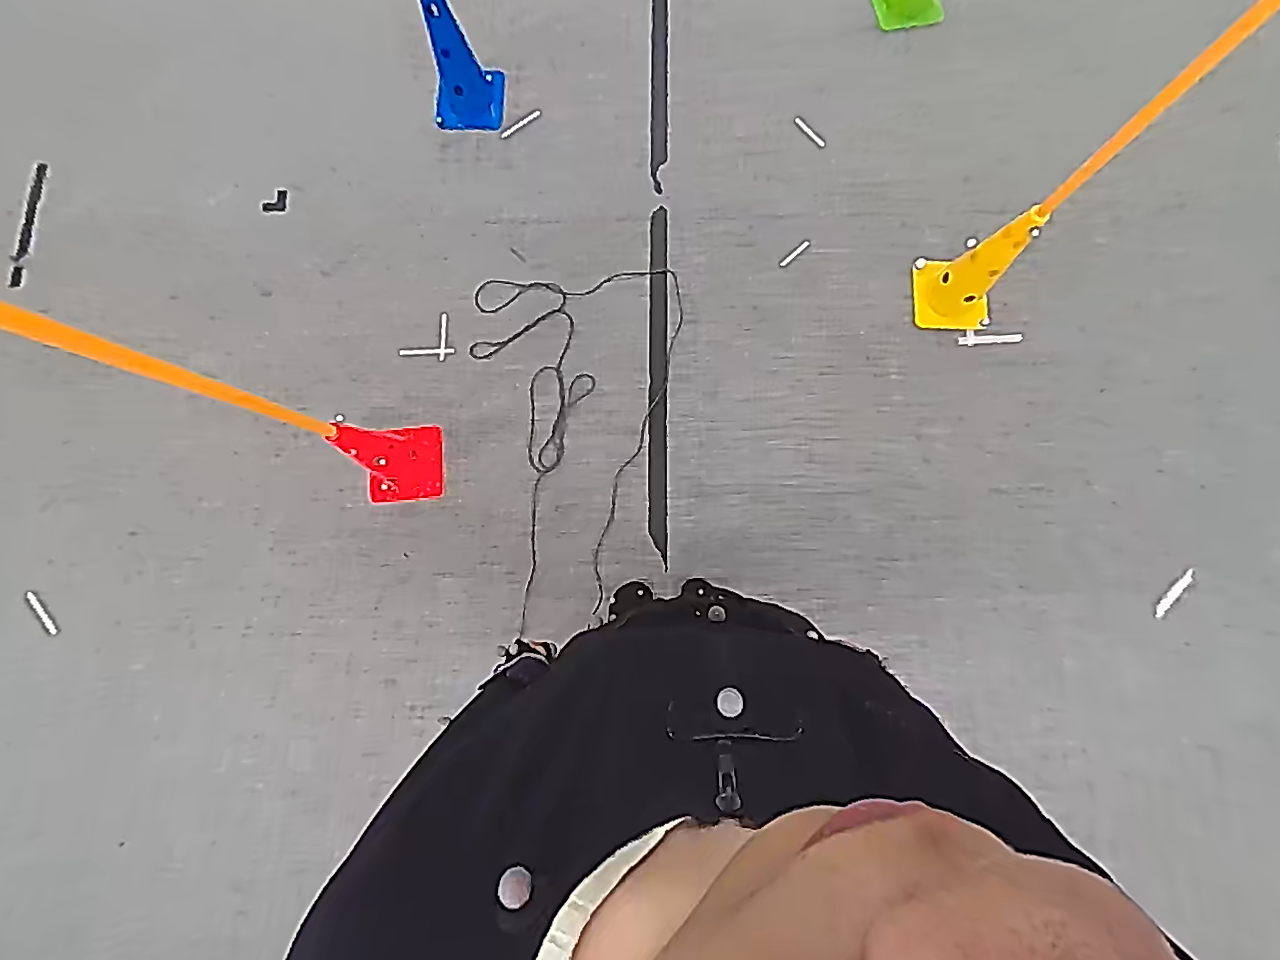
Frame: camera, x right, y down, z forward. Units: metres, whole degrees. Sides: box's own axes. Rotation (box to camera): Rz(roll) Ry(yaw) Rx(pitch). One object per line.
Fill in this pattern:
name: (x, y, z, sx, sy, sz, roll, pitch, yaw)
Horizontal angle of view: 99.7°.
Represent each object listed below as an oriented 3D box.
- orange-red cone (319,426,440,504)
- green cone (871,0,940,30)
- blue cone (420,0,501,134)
orange-red cone: (-0.629, -0.066, 1.265, 0.199, 0.360, 0.198, -5, 81, -1)
green cone: (0.805, -1.502, 1.489, 0.200, 0.368, 0.202, -11, 82, -1)
blue cone: (-0.515, -1.154, 1.462, 0.193, 0.380, 0.192, 2, 81, 1)
